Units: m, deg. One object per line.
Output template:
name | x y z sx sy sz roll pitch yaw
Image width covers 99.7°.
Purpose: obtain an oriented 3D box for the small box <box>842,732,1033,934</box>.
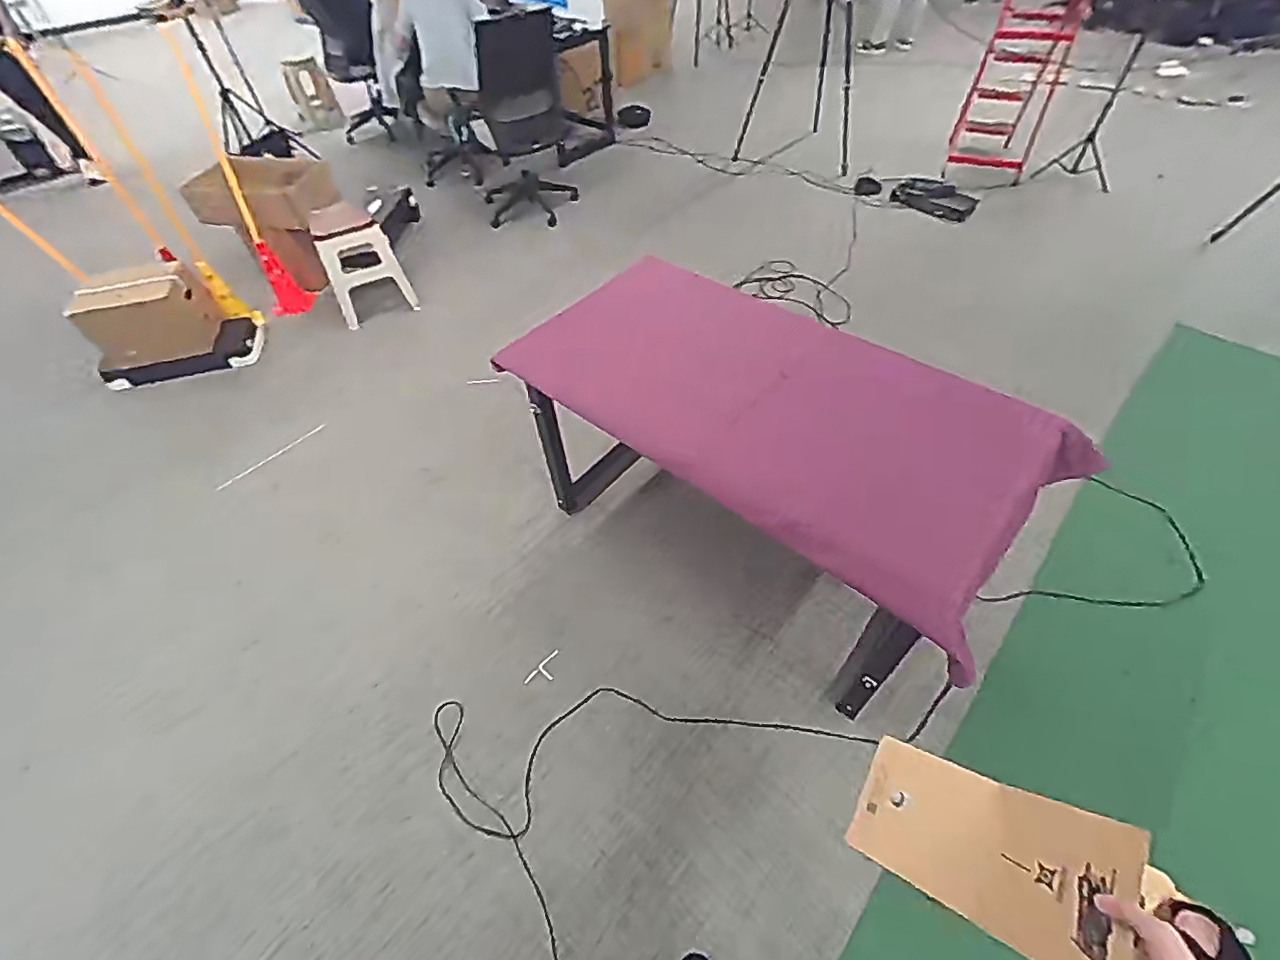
small box | 0.424 0.492 0.774 0.176 0.179 0.168 2 56 53
